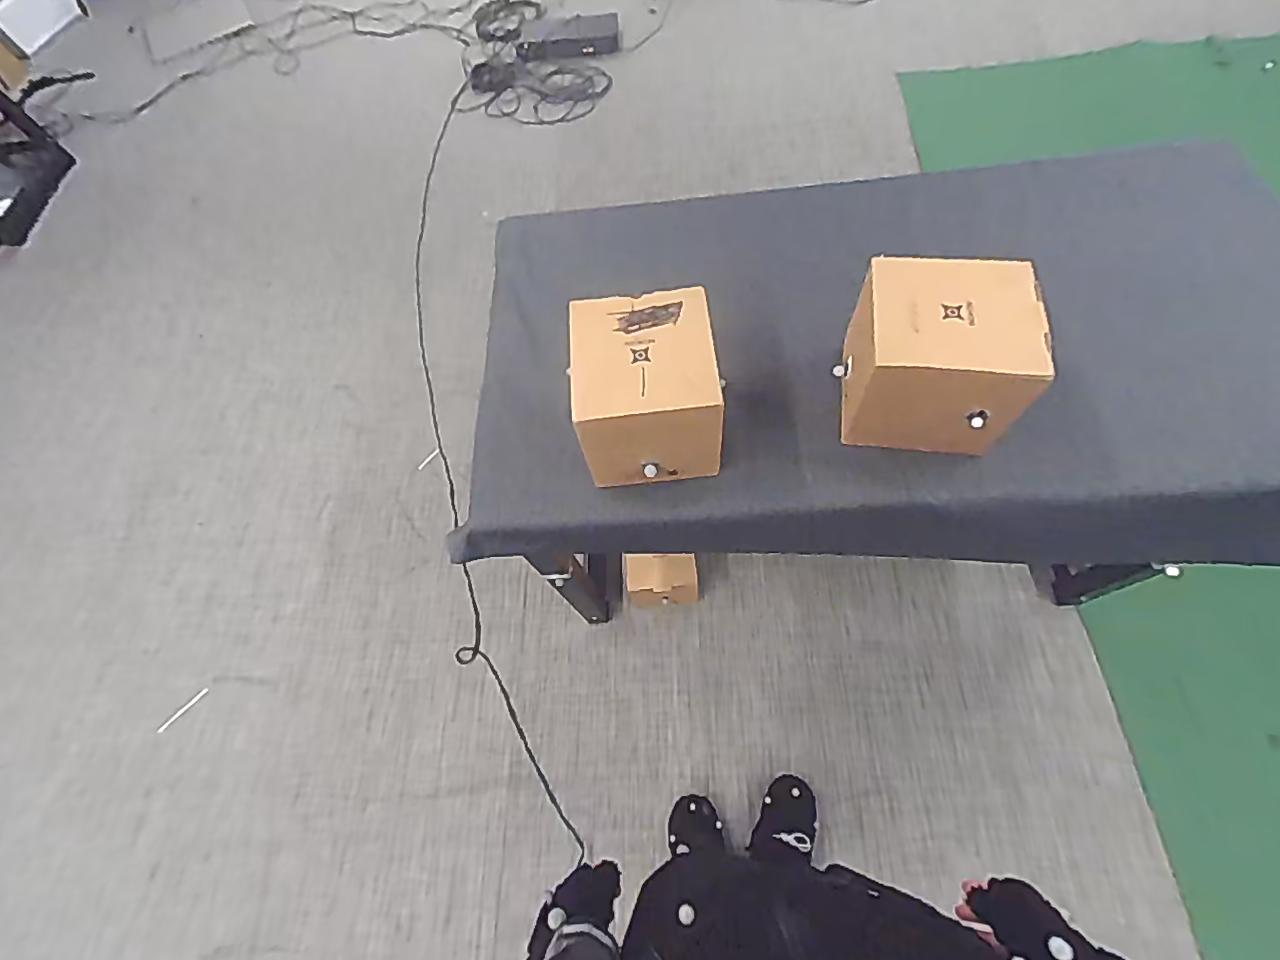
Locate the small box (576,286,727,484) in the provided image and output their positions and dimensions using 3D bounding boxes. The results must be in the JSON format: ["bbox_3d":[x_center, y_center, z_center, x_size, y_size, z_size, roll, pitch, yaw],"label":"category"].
[{"bbox_3d":[0.013,-0.114,0.688,0.168,0.176,0.179,-6,63,3],"label":"small box"}]

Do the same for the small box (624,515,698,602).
[{"bbox_3d":[0.054,0.202,1.348,0.168,0.176,0.179,-6,64,4],"label":"small box"}]

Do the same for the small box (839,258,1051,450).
[{"bbox_3d":[0.357,-0.149,0.672,0.179,0.176,0.168,5,63,10],"label":"small box"}]
